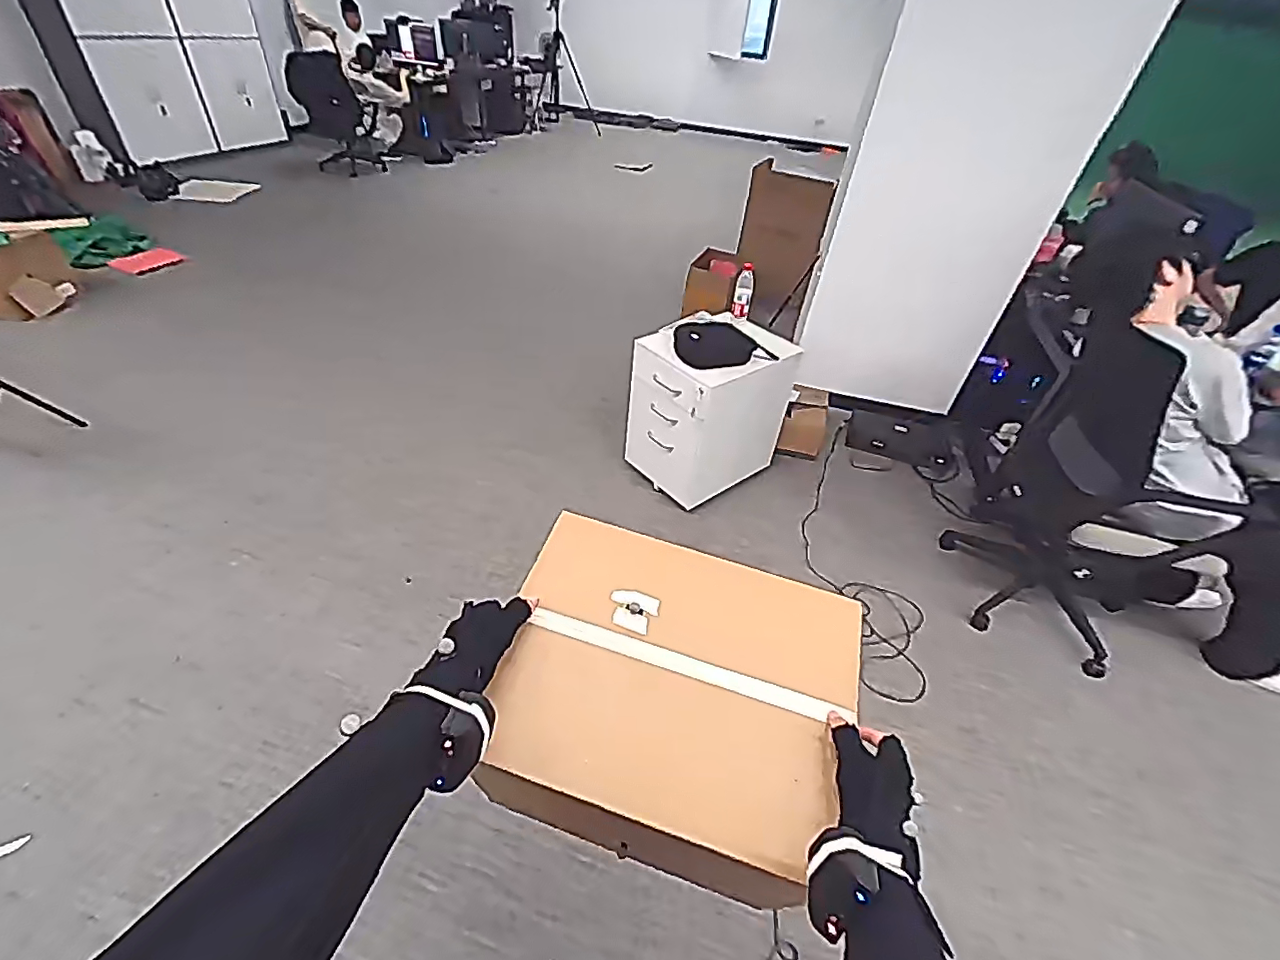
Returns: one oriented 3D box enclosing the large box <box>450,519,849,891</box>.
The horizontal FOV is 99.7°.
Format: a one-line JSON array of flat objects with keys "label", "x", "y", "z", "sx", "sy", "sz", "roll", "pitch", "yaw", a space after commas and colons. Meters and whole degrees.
[{"label": "large box", "x": 0.028, "y": 0.307, "z": 0.735, "sx": 0.408, "sy": 0.320, "sz": 0.320, "roll": 16, "pitch": 50, "yaw": 8}]
